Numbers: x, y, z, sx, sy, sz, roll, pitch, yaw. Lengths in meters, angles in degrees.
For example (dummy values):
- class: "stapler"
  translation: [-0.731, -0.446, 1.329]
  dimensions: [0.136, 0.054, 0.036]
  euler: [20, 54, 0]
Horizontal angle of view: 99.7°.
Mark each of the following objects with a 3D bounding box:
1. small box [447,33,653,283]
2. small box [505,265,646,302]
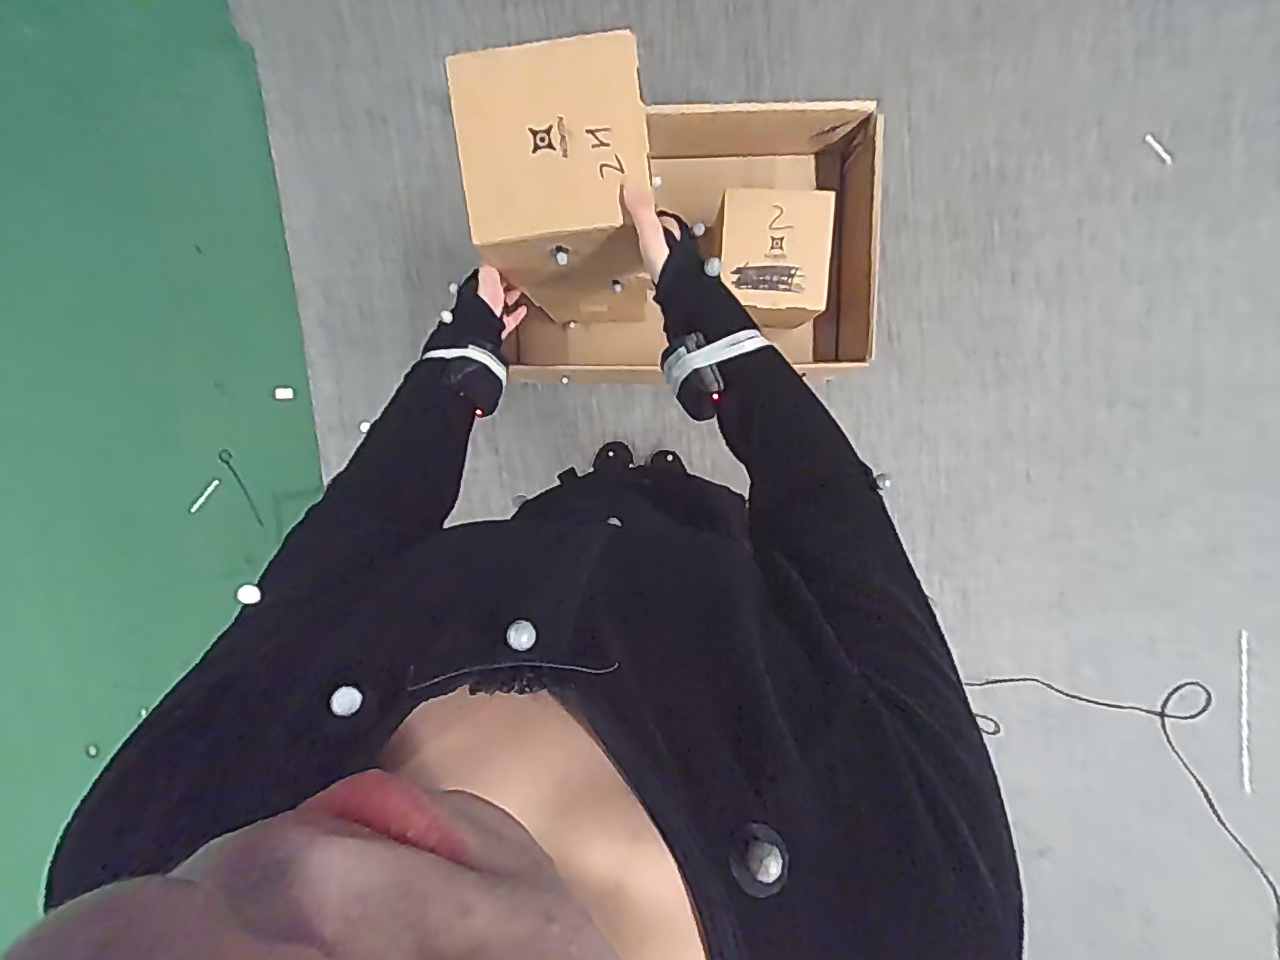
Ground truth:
- class: "small box"
  translation: [-0.080, -0.318, 0.573]
  dimensions: [0.179, 0.176, 0.168]
  euler: [-7, 97, 1]
- class: "small box"
  translation: [-0.081, -0.344, 0.738]
  dimensions: [0.179, 0.176, 0.168]
  euler: [-1, 97, 0]
